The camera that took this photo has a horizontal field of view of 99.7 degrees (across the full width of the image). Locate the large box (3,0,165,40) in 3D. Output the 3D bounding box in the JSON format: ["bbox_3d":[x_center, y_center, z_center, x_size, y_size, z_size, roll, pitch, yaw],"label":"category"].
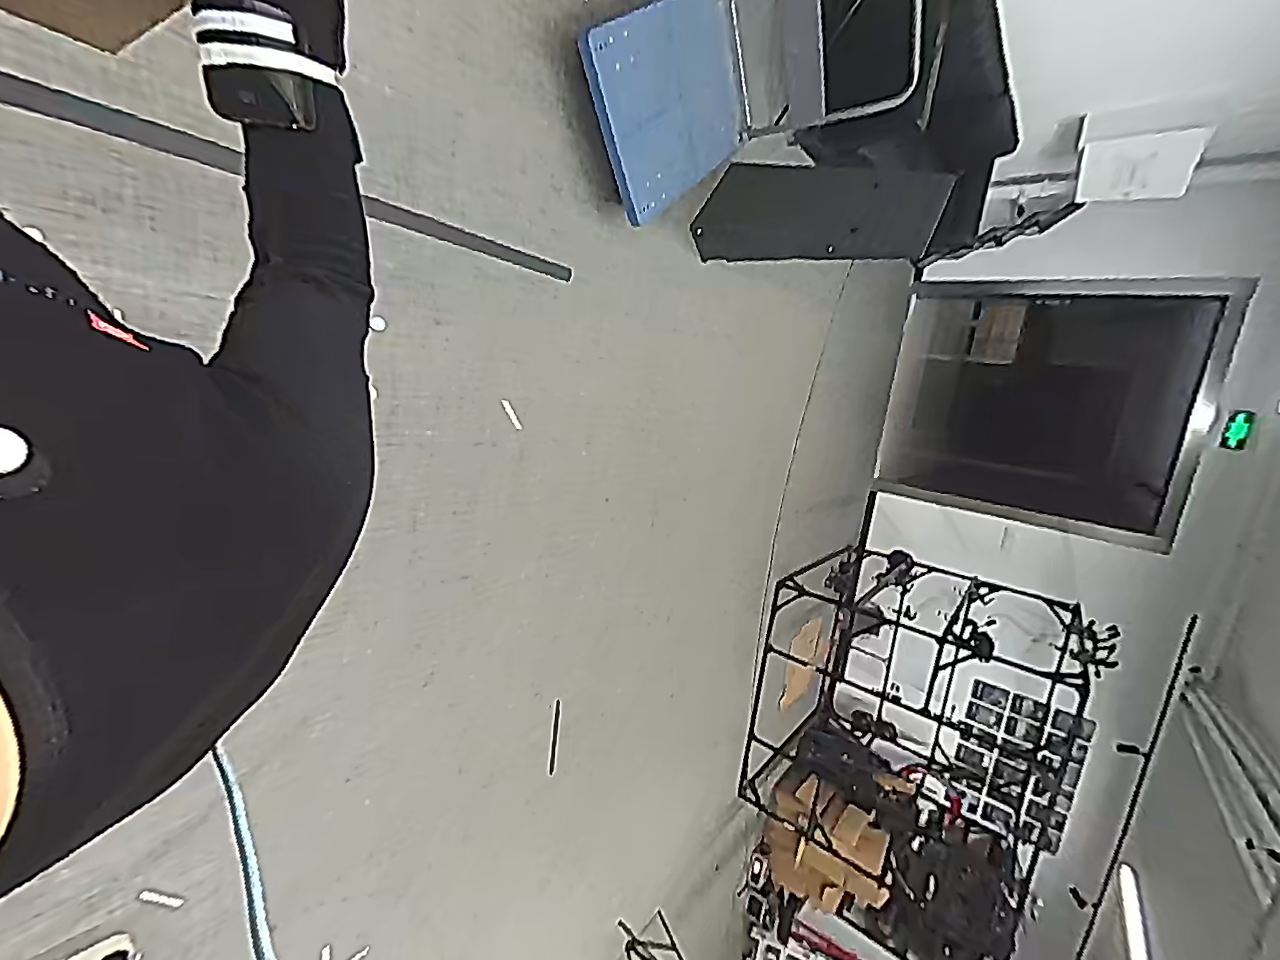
[{"bbox_3d":[-0.448,-0.476,0.209,0.408,0.320,0.320,-8,113,-53],"label":"large box"}]
